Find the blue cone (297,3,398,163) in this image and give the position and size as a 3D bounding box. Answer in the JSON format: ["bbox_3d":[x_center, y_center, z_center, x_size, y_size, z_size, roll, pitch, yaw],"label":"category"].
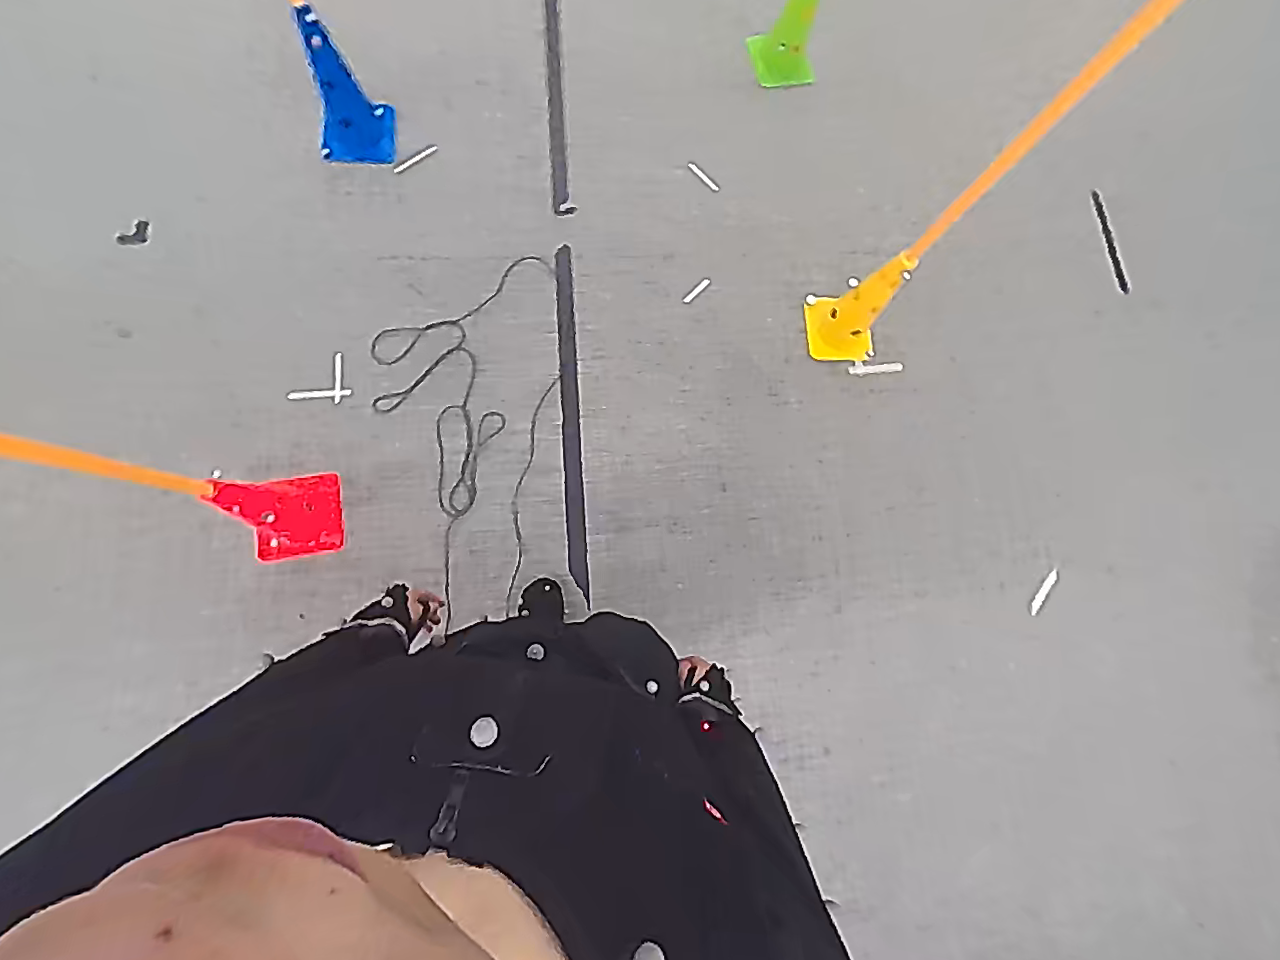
[{"bbox_3d":[-0.779,-1.036,1.402,0.193,0.380,0.192,0,79,-7],"label":"blue cone"}]

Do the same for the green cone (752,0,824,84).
[{"bbox_3d":[0.505,-1.440,1.631,0.200,0.368,0.202,-13,82,-9],"label":"green cone"}]

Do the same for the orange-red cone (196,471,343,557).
[{"bbox_3d":[-0.810,0.046,1.153,0.199,0.360,0.198,-8,80,-10],"label":"orange-red cone"}]
